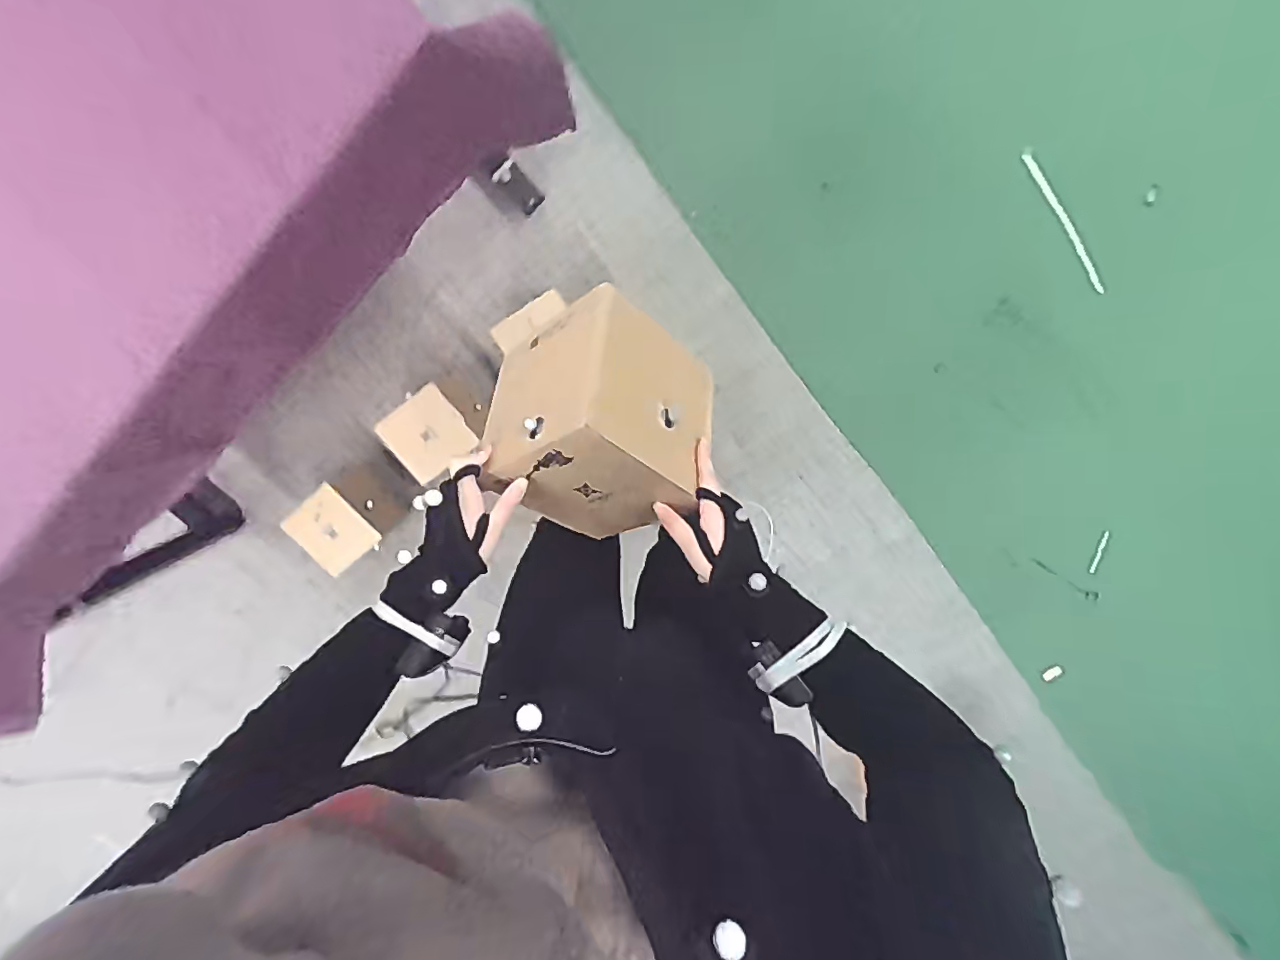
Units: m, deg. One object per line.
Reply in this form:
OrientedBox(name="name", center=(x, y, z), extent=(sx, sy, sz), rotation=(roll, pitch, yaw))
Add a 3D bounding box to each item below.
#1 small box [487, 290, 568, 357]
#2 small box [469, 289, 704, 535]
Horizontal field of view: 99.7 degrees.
OrientedBox(name="small box", center=(-0.208, -0.304, 1.213), extent=(0.168, 0.176, 0.179), rotation=(-30, 103, 8))
OrientedBox(name="small box", center=(-0.044, -0.061, 0.568), extent=(0.168, 0.176, 0.179), rotation=(-19, 143, 37))
